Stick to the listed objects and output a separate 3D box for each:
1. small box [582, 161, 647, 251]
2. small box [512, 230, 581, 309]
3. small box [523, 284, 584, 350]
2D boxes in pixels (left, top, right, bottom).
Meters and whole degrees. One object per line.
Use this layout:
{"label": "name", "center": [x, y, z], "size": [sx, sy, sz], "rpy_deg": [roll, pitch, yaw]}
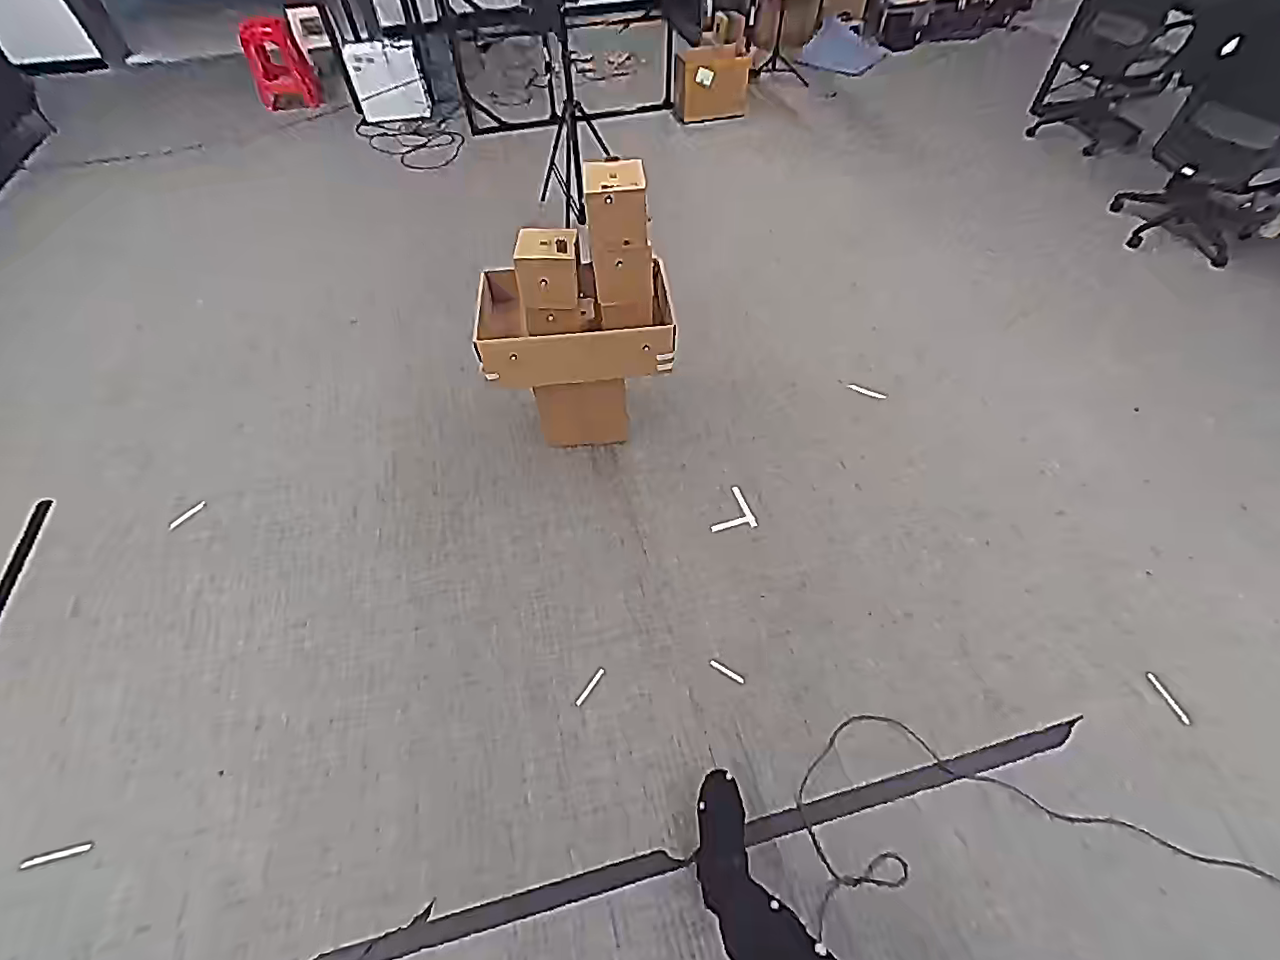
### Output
{"label": "small box", "center": [-0.070, -0.765, 1.513], "size": [0.168, 0.176, 0.179], "rpy_deg": [-5, 52, 1]}
{"label": "small box", "center": [-0.274, -0.630, 1.629], "size": [0.179, 0.176, 0.168], "rpy_deg": [0, 53, 1]}
{"label": "small box", "center": [-0.277, -0.542, 1.767], "size": [0.179, 0.176, 0.168], "rpy_deg": [-3, 53, -2]}
